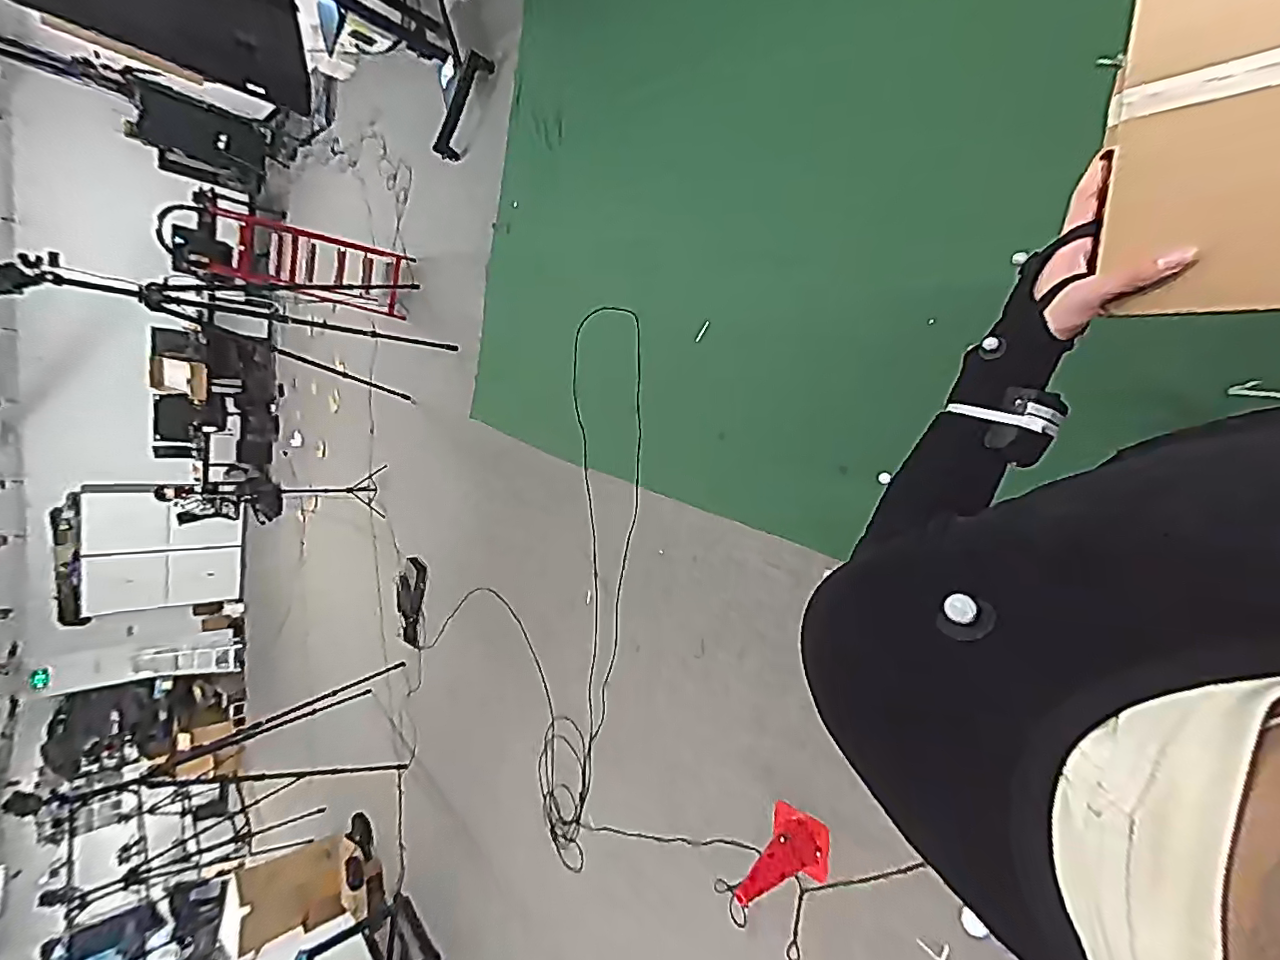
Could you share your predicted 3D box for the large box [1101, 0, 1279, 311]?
[{"bbox_3d":[0.622,-0.300,0.381,0.408,0.320,0.320,12,113,45],"label":"large box"}]
